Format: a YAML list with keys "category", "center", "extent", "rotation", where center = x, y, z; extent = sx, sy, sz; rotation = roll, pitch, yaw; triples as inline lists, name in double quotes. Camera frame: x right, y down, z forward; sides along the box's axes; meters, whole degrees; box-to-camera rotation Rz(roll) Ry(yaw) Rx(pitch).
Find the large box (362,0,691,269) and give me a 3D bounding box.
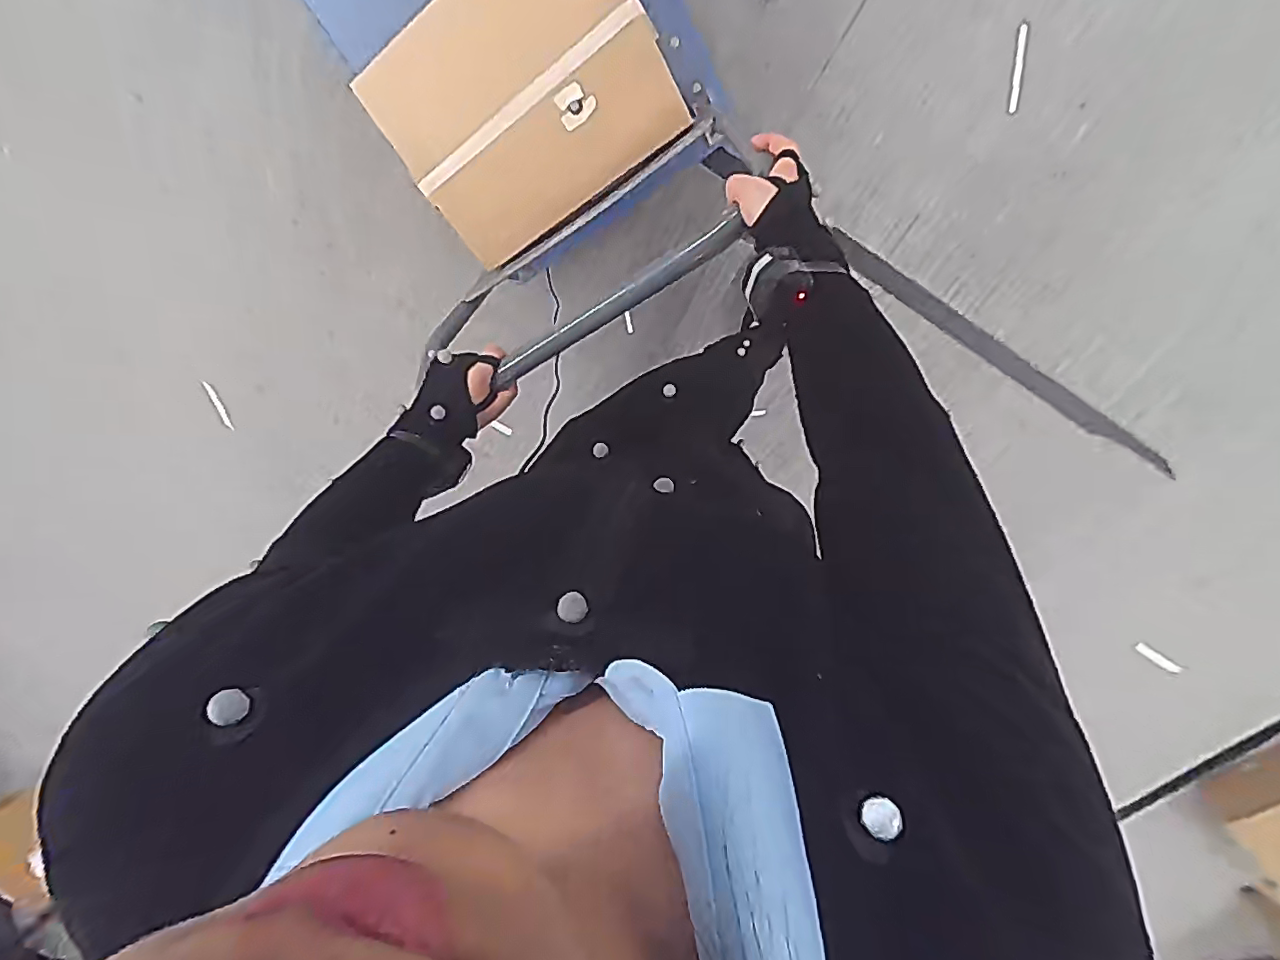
- category: "large box"
  center: [-0.163, -0.634, 0.924]
  extent: [0.408, 0.320, 0.320]
  rotation: [-28, 118, 19]
